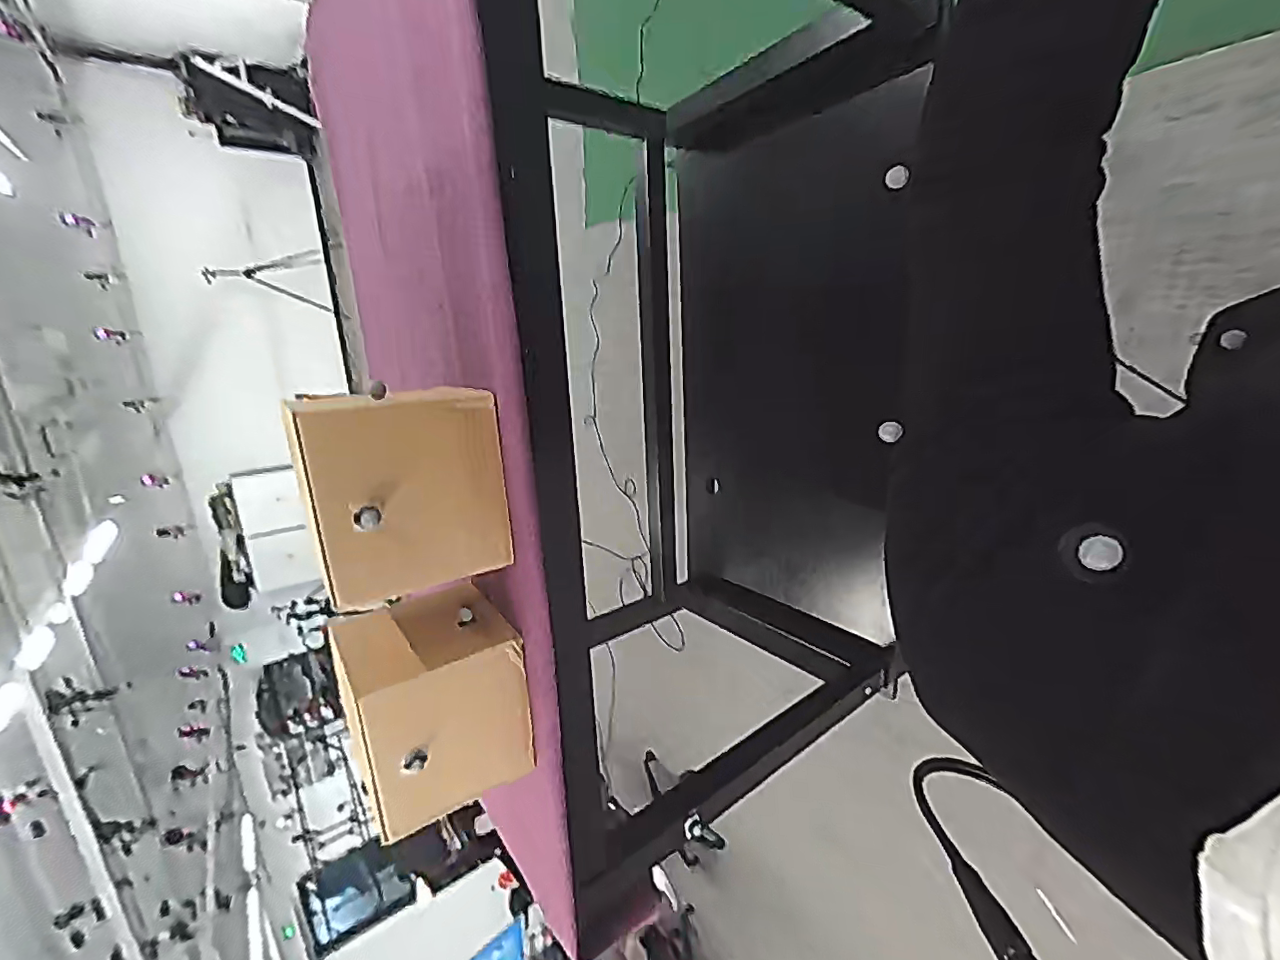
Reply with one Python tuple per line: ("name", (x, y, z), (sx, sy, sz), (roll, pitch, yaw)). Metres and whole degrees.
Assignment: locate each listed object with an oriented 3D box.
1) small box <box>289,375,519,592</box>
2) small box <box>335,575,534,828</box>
("small box", (-0.238, -0.015, 0.552), (0.168, 0.176, 0.179), (15, 114, 53))
("small box", (-0.229, 0.231, 0.614), (0.168, 0.176, 0.179), (19, 115, 51))
